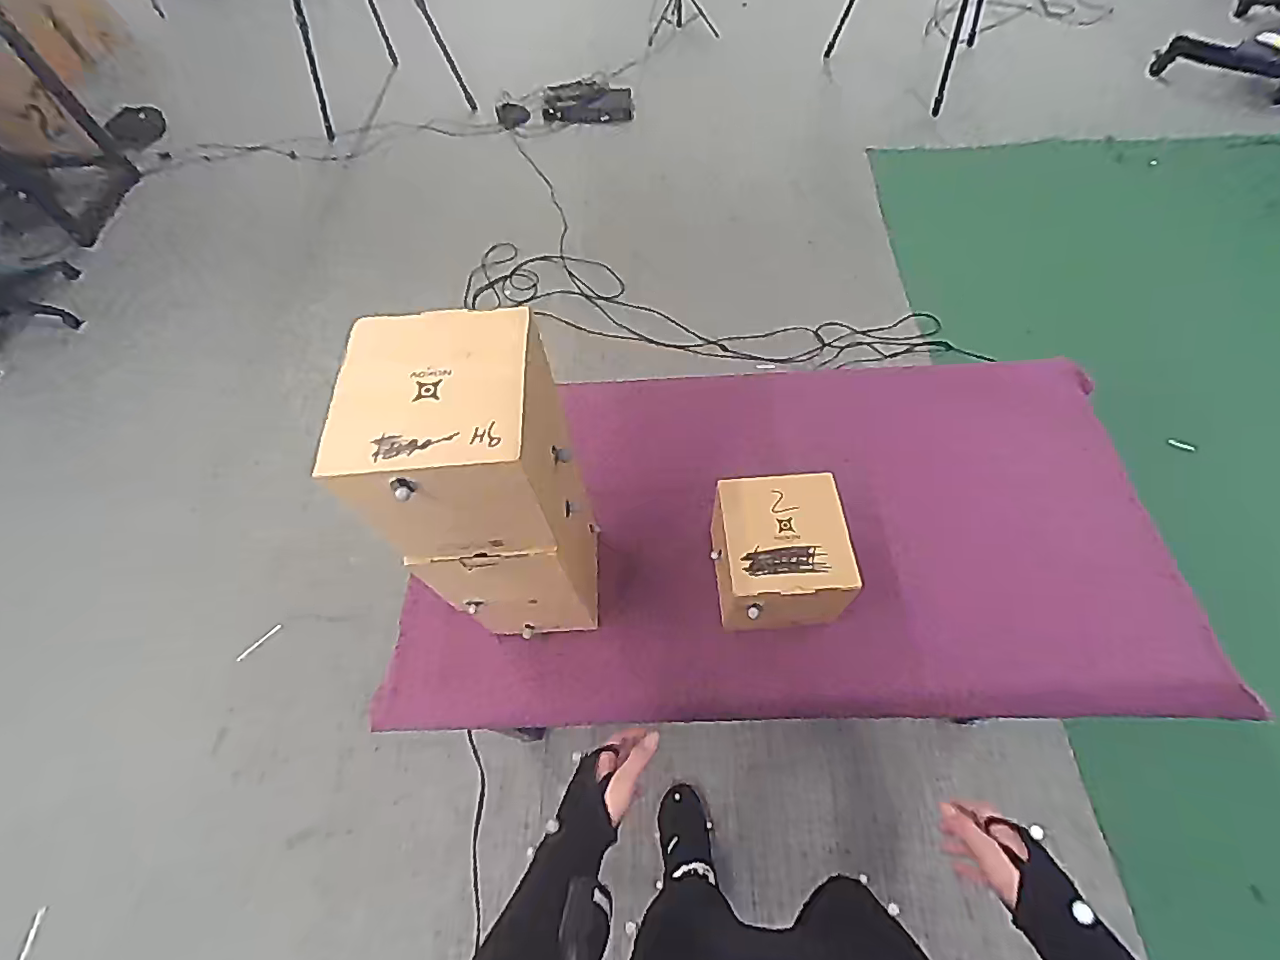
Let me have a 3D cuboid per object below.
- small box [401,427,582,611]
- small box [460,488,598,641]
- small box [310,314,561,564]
[{"bbox_3d":[-0.165,0.055,0.667,0.168,0.176,0.179,-4,58,2],"label":"small box"},{"bbox_3d":[-0.156,0.131,0.812,0.168,0.176,0.179,-4,60,2],"label":"small box"},{"bbox_3d":[-0.175,-0.034,0.530,0.168,0.176,0.179,-5,58,2],"label":"small box"}]
